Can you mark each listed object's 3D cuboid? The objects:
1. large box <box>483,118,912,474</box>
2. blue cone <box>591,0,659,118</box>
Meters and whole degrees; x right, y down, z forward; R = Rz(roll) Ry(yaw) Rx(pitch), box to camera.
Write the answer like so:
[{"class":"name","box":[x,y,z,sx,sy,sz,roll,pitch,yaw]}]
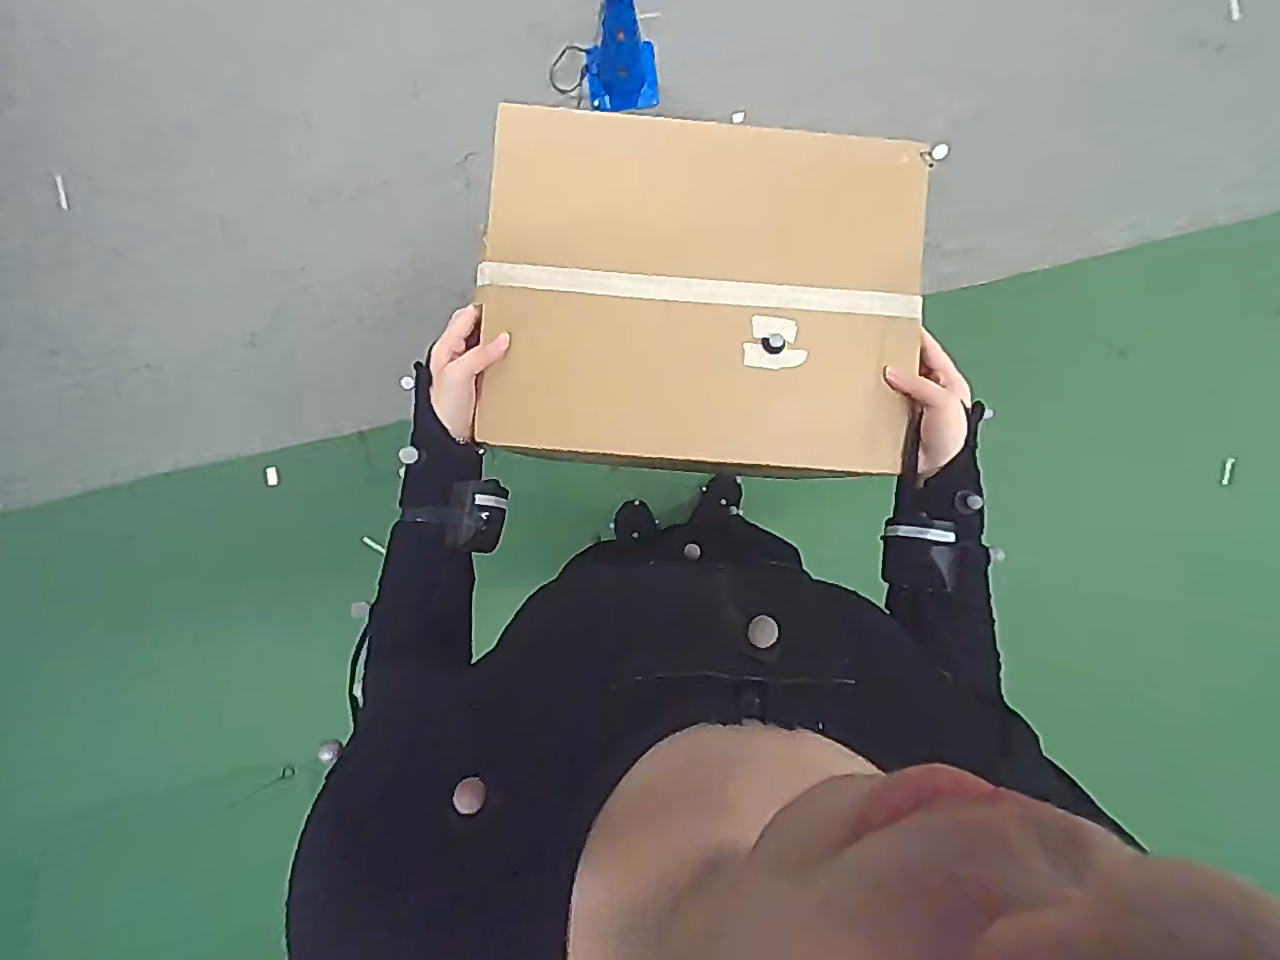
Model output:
[{"class":"large box","box":[0.050,-0.173,0.655,0.408,0.320,0.320,3,89,-3]},{"class":"blue cone","box":[-0.047,-1.165,1.417,0.193,0.380,0.192,-4,88,0]}]
